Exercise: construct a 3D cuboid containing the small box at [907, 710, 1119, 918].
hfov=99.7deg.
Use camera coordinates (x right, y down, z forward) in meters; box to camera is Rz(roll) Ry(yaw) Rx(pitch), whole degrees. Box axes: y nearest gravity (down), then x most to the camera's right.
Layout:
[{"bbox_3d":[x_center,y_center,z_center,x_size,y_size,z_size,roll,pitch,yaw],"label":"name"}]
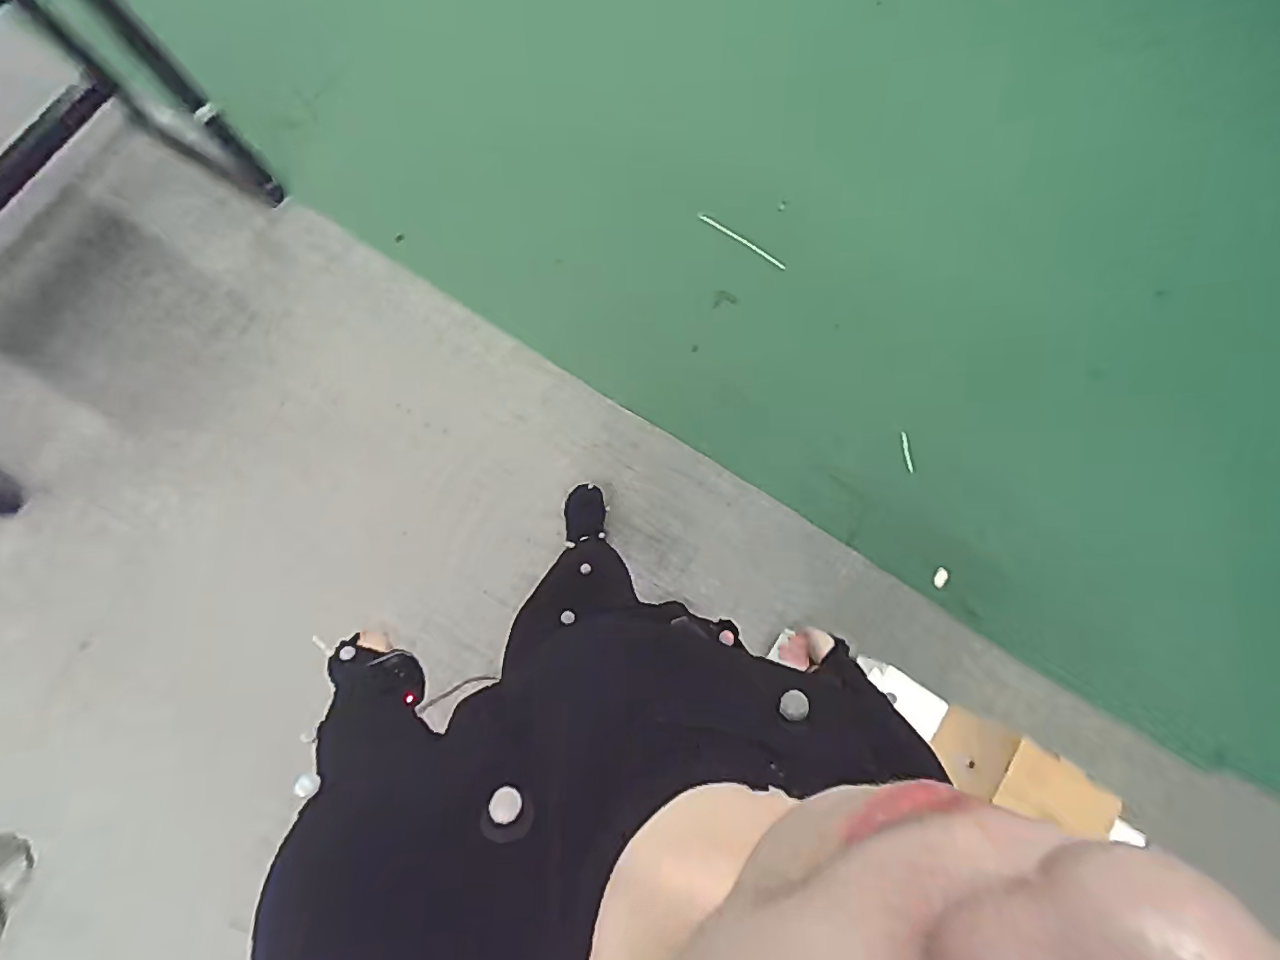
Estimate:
[{"bbox_3d":[0.540,0.477,0.809,0.168,0.176,0.179,34,81,3],"label":"small box"}]
